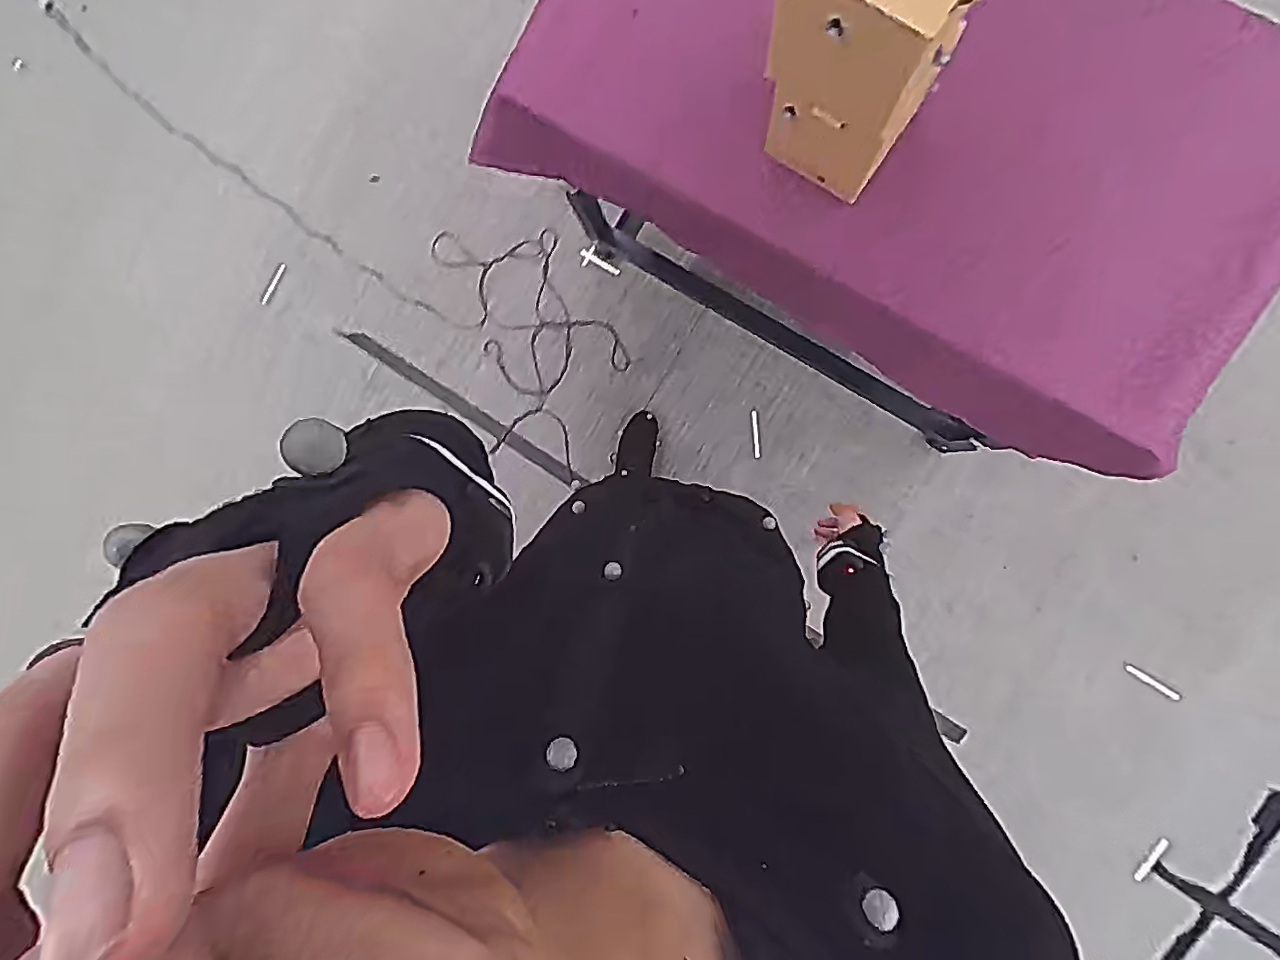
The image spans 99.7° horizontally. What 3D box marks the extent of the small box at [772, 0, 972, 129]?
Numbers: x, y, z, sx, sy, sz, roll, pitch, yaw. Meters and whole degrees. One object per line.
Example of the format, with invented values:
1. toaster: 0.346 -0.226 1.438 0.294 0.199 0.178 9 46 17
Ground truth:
1. small box: 0.269 -0.548 0.608 0.179 0.176 0.168 35 95 5
